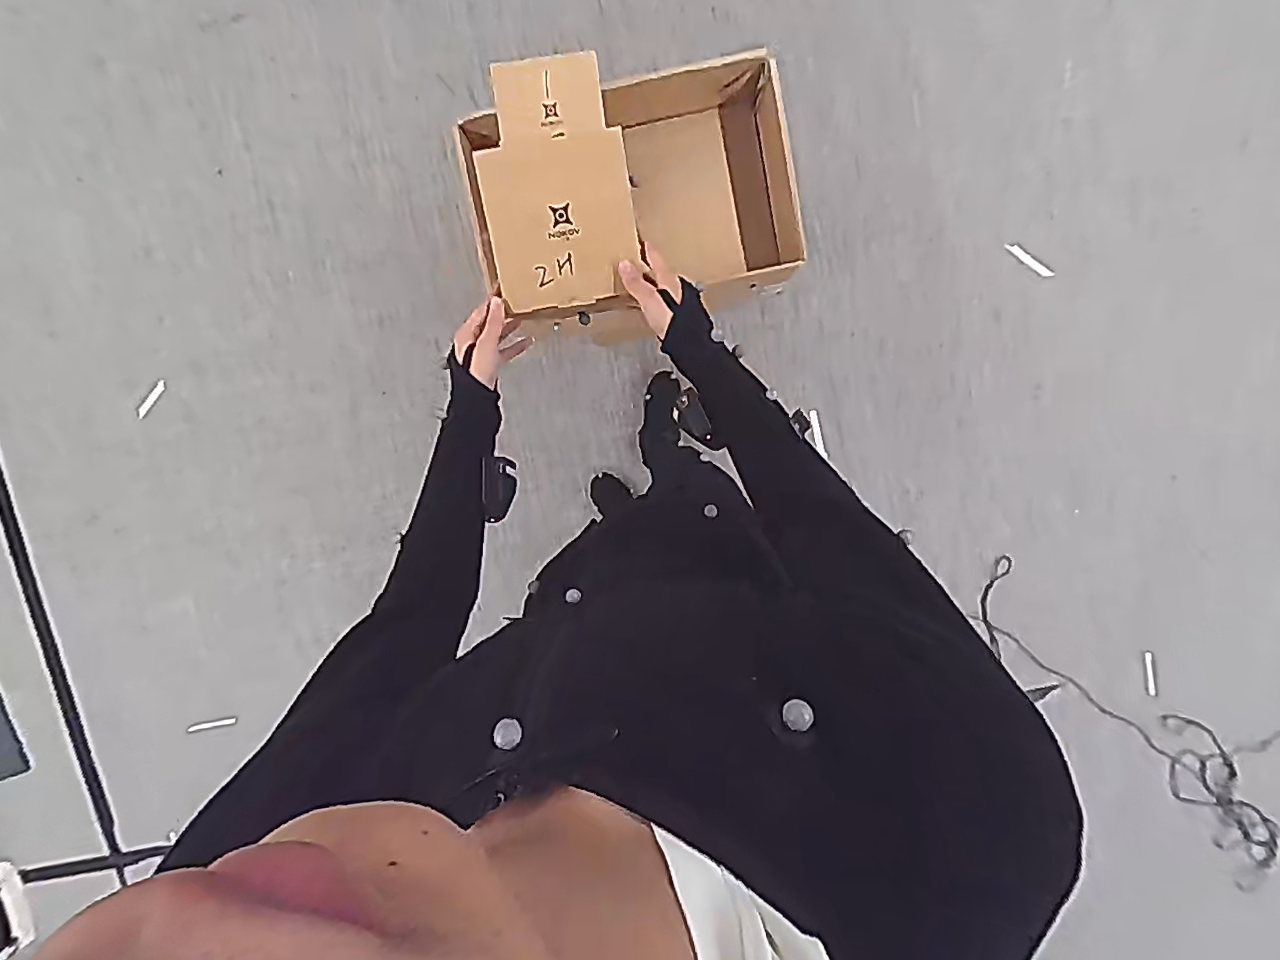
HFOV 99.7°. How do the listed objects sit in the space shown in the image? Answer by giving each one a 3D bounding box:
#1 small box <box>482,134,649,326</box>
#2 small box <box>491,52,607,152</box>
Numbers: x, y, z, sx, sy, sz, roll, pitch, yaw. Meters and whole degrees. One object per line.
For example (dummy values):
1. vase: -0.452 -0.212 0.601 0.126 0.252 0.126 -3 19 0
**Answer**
1. small box: -0.084 -0.300 0.686 0.168 0.176 0.179 -9 103 1
2. small box: -0.138 -0.566 0.913 0.168 0.176 0.179 -8 95 0
